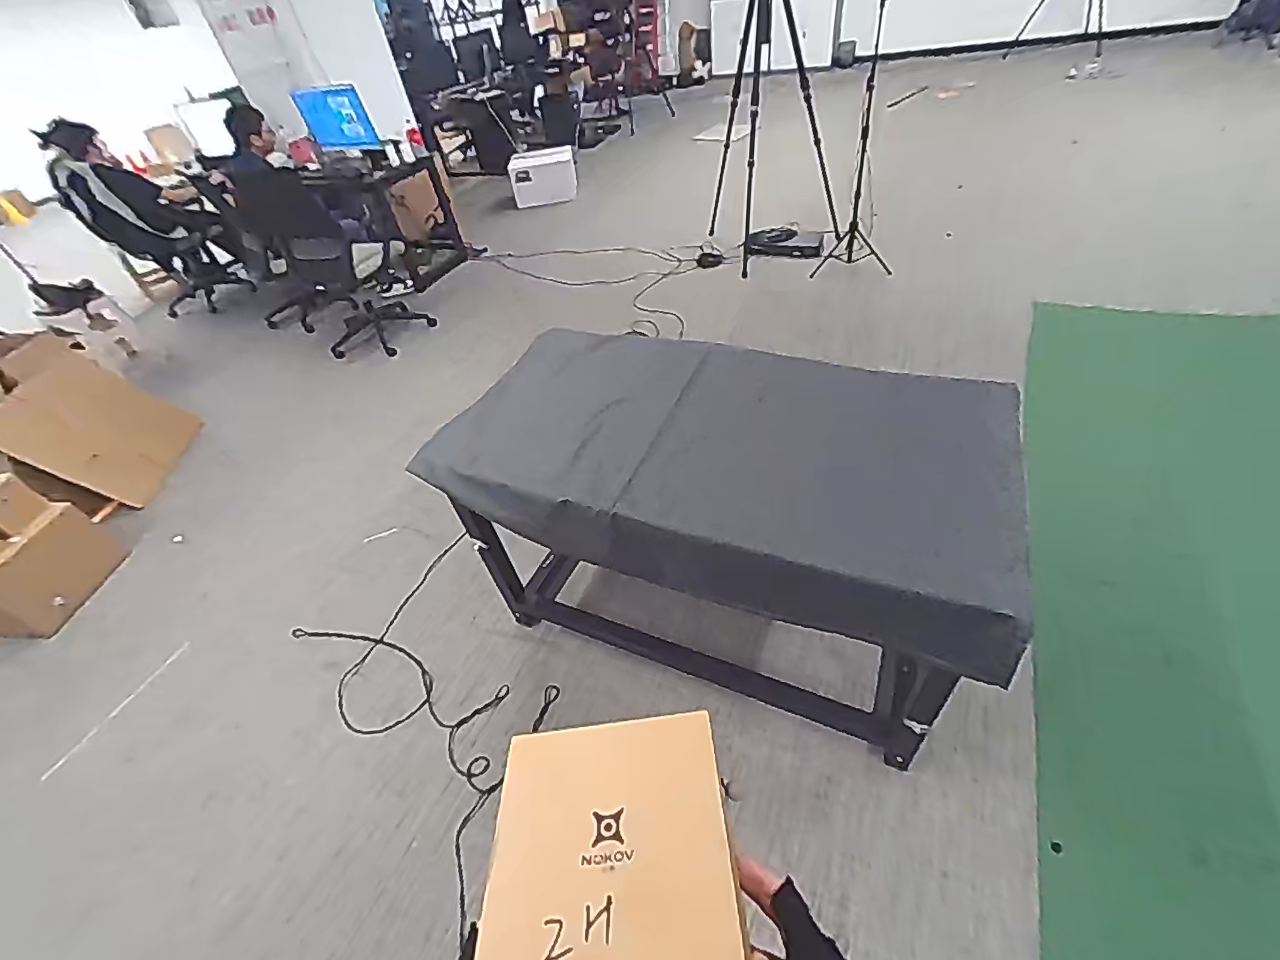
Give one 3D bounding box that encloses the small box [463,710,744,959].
[{"bbox_3d":[-0.014,0.310,0.415,0.168,0.176,0.179,-10,35,5],"label":"small box"}]
